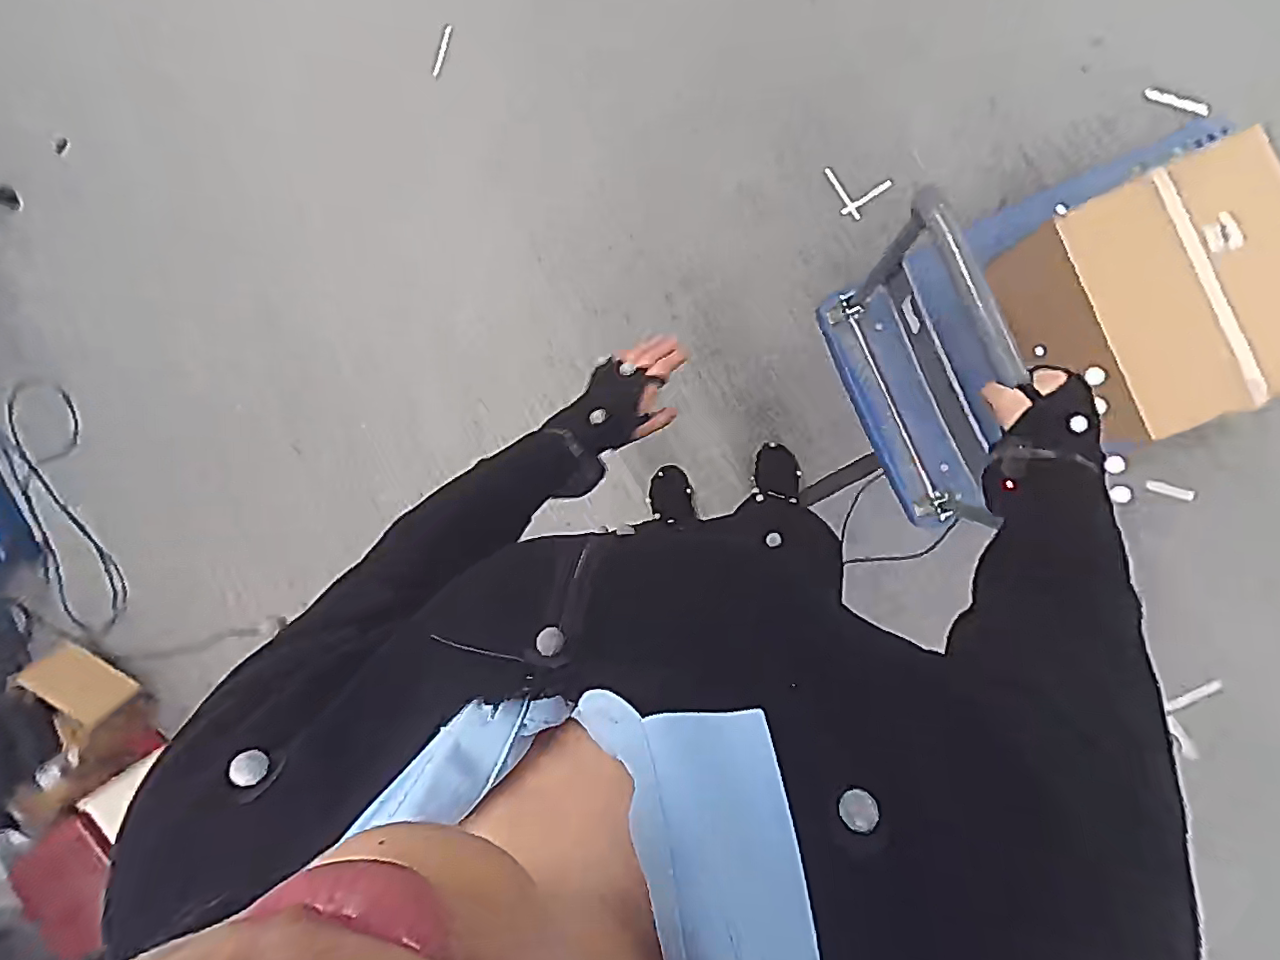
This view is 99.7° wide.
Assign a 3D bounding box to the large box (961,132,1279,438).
[{"bbox_3d":[0.906,-0.328,1.035,0.320,0.320,0.408,-24,88,9],"label":"large box"}]
